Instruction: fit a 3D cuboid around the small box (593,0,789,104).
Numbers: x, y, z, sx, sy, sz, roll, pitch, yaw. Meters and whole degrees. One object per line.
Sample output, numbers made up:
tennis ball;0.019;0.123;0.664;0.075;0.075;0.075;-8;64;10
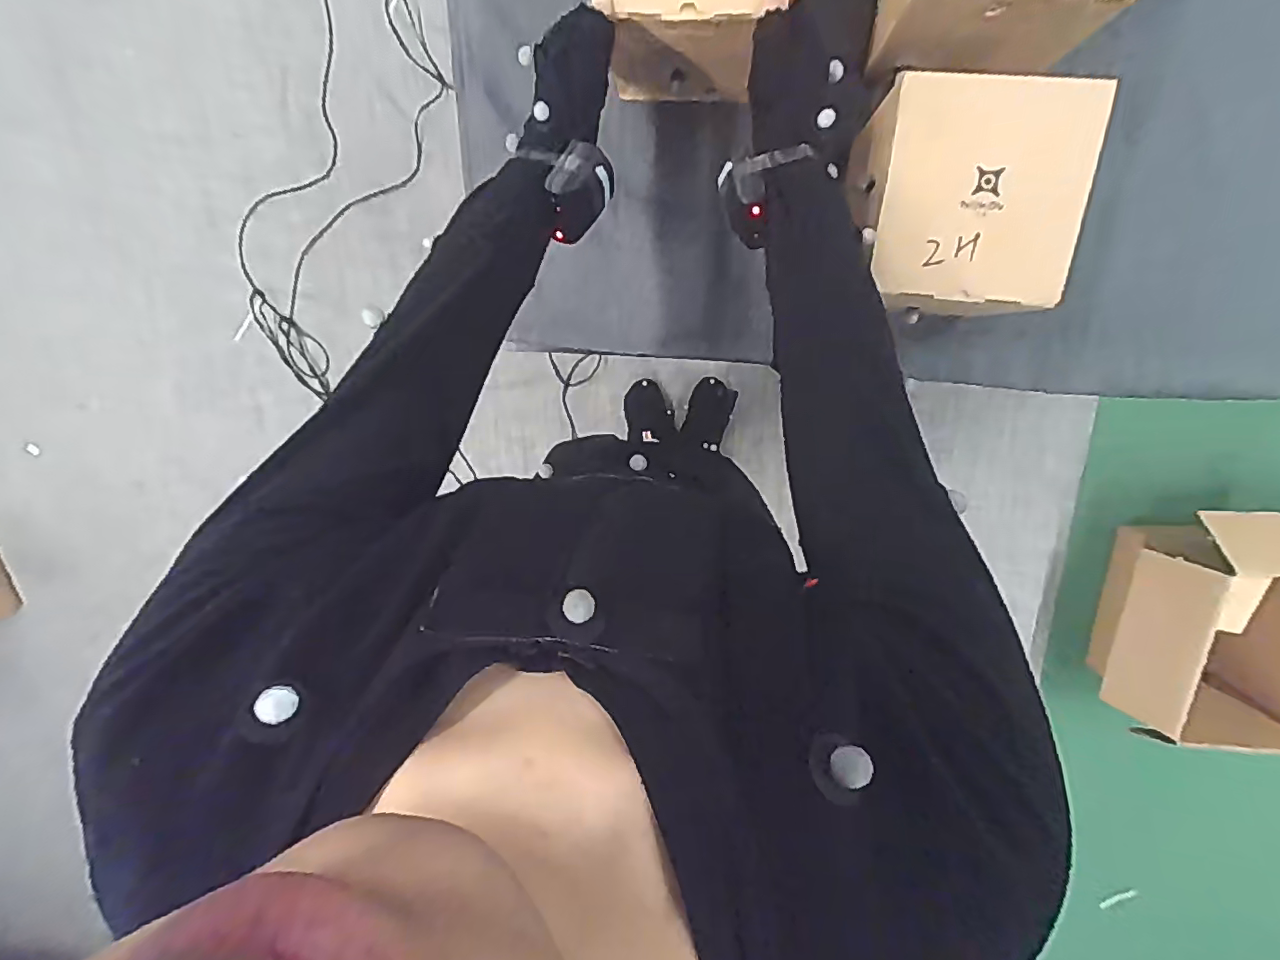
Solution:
small box;0.053;-0.489;0.507;0.168;0.176;0.179;5;106;5
